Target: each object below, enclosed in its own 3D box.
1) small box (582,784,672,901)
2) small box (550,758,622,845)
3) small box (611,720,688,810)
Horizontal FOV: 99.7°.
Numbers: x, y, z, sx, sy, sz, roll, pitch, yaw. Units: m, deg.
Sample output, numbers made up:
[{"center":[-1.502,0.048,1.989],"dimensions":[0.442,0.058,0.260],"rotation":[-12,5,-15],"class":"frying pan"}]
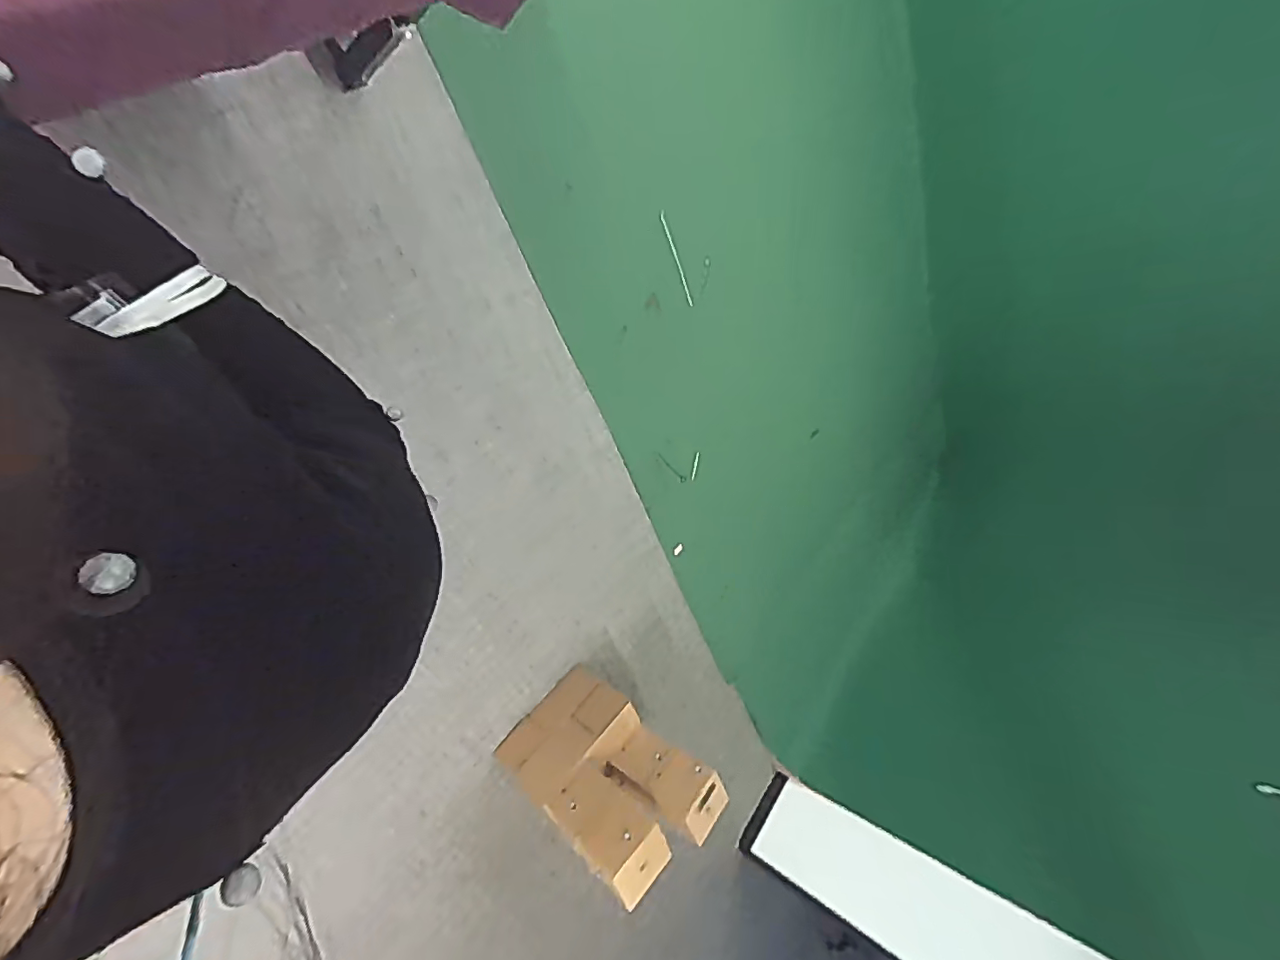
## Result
[{"center":[-0.043,1.007,1.514],"dimensions":[0.179,0.176,0.168],"rotation":[-37,122,-33],"class":"small box"},{"center":[-0.146,0.982,1.638],"dimensions":[0.168,0.176,0.179],"rotation":[-37,123,-32],"class":"small box"},{"center":[0.032,0.944,1.808],"dimensions":[0.168,0.176,0.179],"rotation":[-39,125,-34],"class":"small box"}]
